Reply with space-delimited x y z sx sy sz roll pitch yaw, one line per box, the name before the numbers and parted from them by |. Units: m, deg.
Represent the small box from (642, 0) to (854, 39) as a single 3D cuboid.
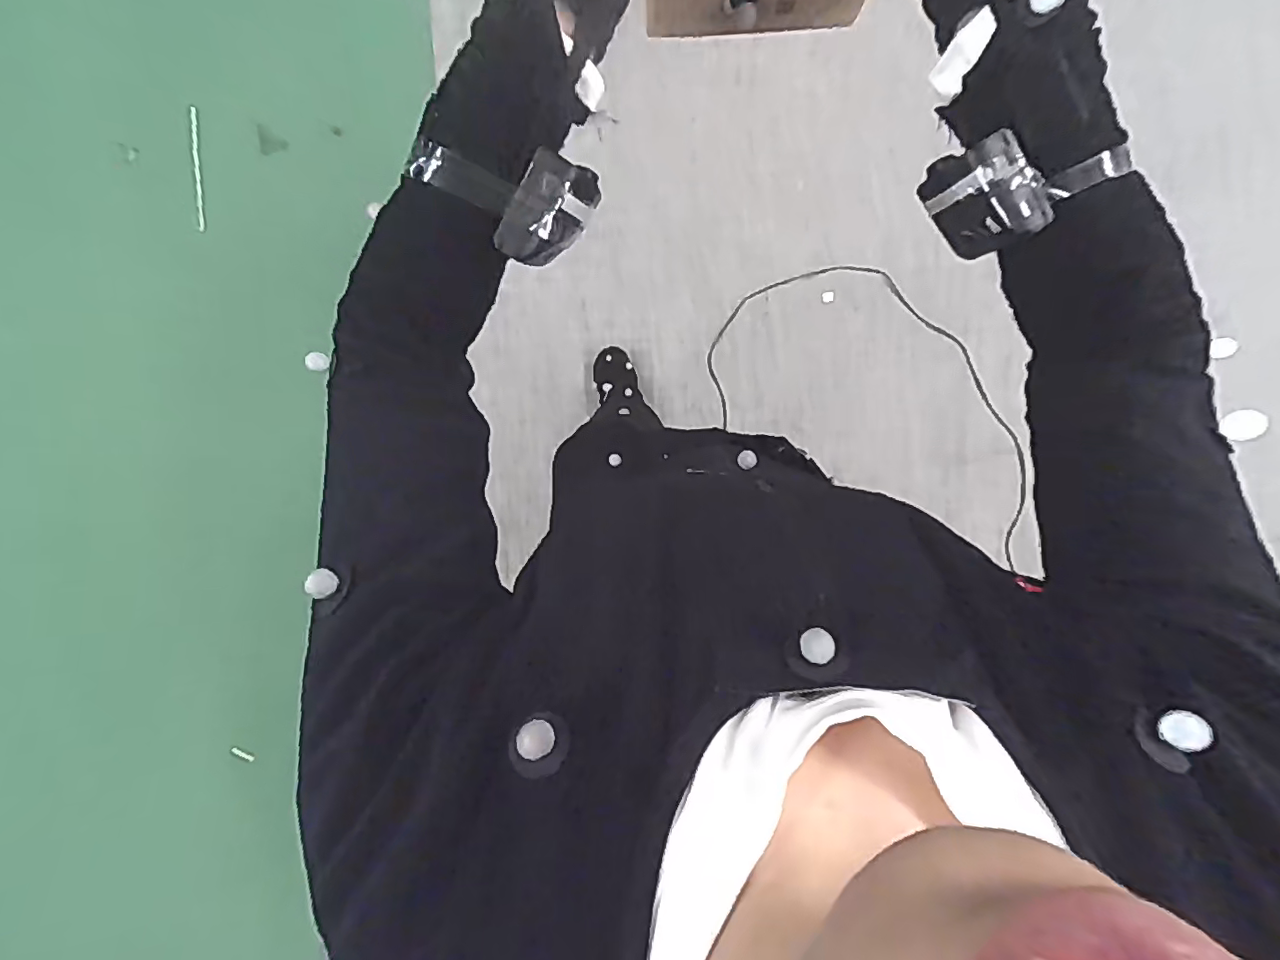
small box | 0.079 -0.439 0.349 0.168 0.176 0.179 -3 92 1
